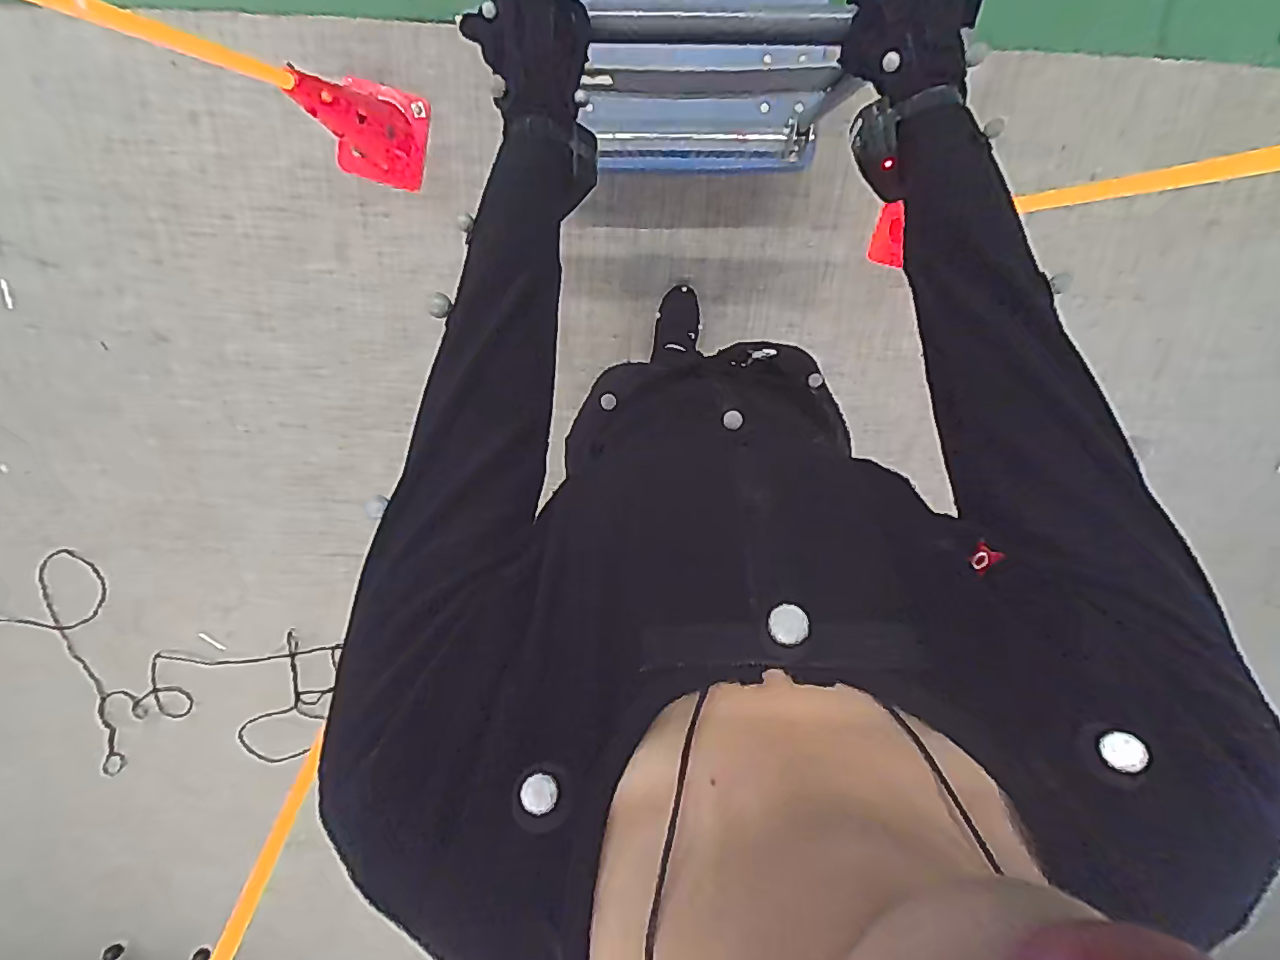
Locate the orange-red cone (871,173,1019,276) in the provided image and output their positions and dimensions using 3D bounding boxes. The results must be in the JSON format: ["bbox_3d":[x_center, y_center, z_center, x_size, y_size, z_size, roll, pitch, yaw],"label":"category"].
[{"bbox_3d":[0.672,-0.552,1.139,0.198,0.360,0.199,14,110,-3],"label":"orange-red cone"}]
